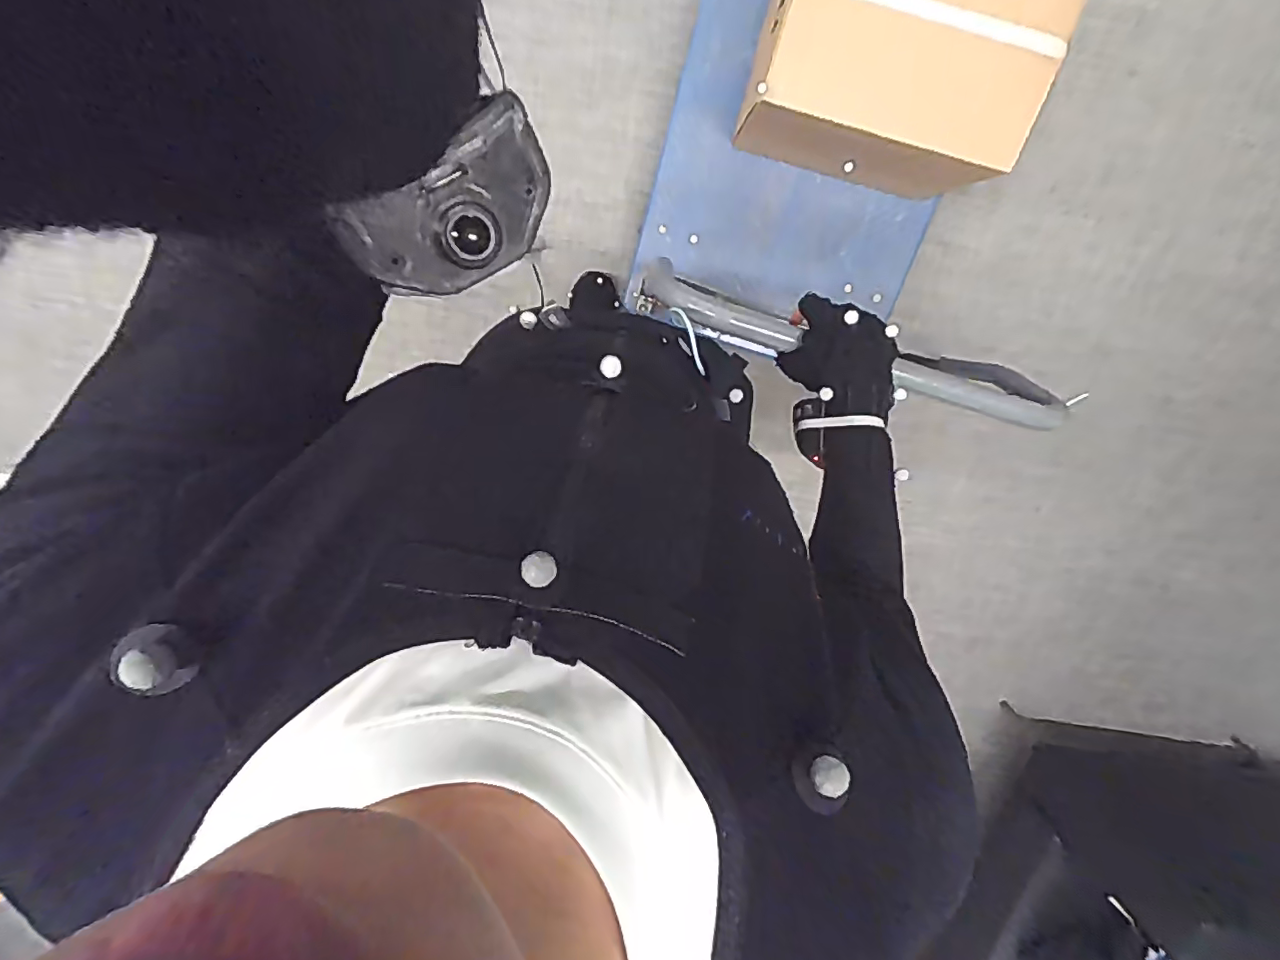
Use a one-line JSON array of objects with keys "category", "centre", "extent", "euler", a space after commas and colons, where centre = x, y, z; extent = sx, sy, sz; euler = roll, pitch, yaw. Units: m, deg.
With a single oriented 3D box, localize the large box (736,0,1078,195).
[{"category": "large box", "centre": [0.416, -0.715, 0.916], "extent": [0.408, 0.320, 0.320], "euler": [14, 109, -4]}]
